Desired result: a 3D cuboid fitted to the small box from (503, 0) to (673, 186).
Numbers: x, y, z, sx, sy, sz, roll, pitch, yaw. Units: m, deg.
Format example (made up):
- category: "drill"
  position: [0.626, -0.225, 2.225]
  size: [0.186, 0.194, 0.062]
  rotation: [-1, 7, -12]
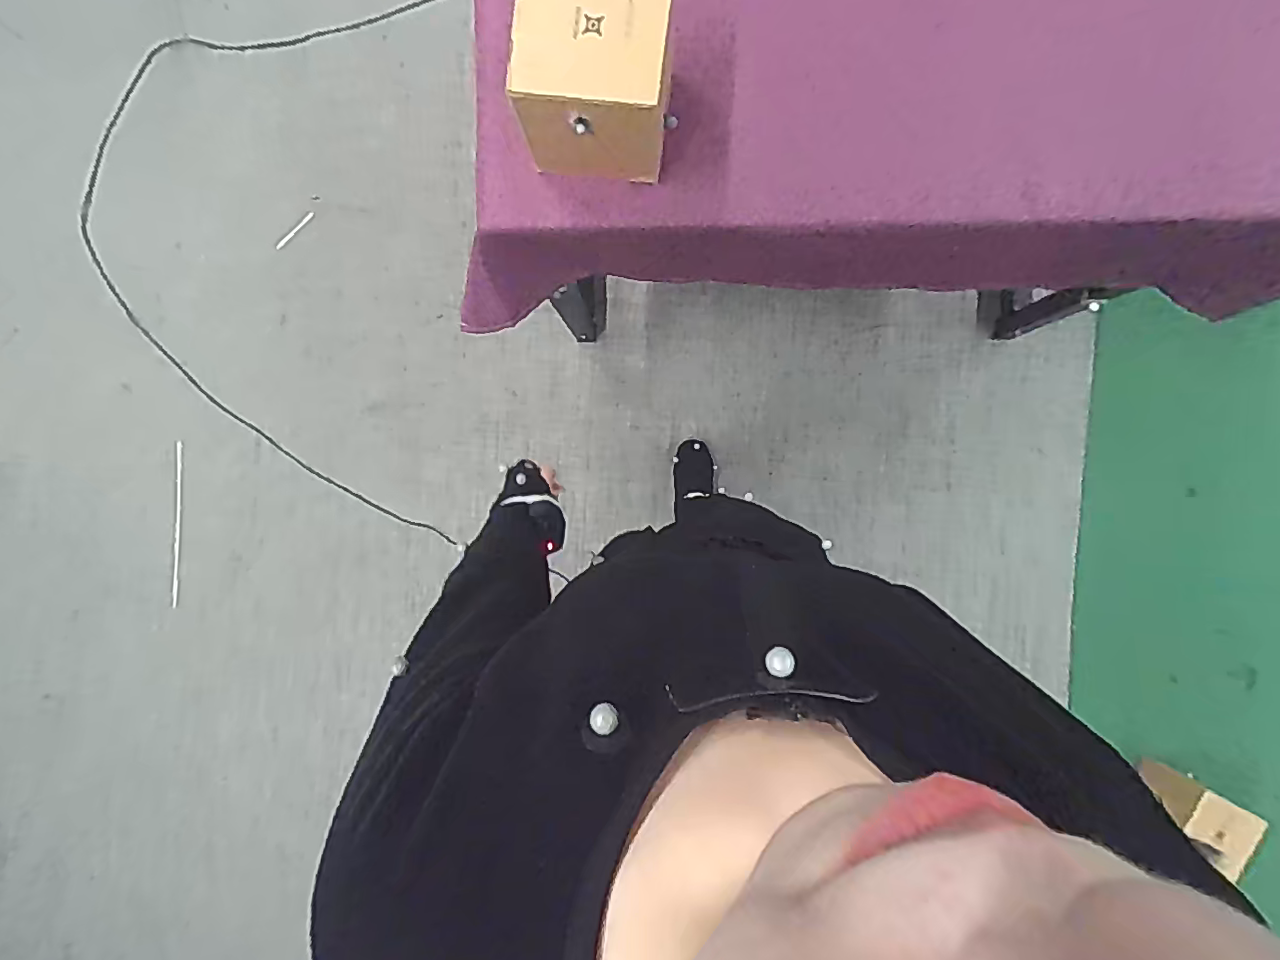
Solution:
- category: "small box"
  position: [-0.056, -0.502, 0.687]
  size: [0.179, 0.176, 0.168]
  rotation: [8, 91, 2]
